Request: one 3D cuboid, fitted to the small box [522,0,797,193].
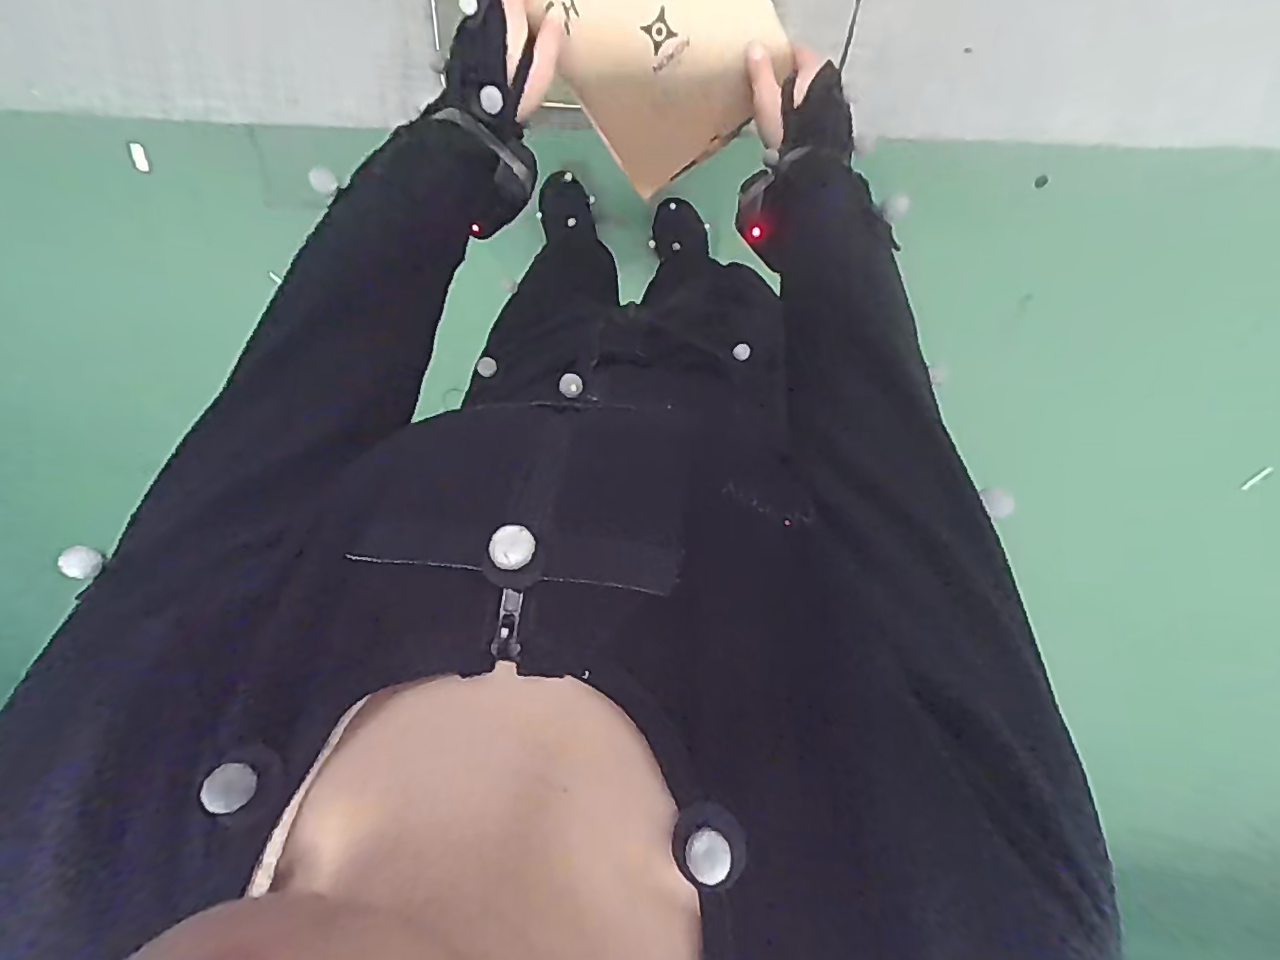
[{"bbox_3d":[0.020,-0.411,0.496,0.168,0.176,0.179,-27,126,22],"label":"small box"}]
